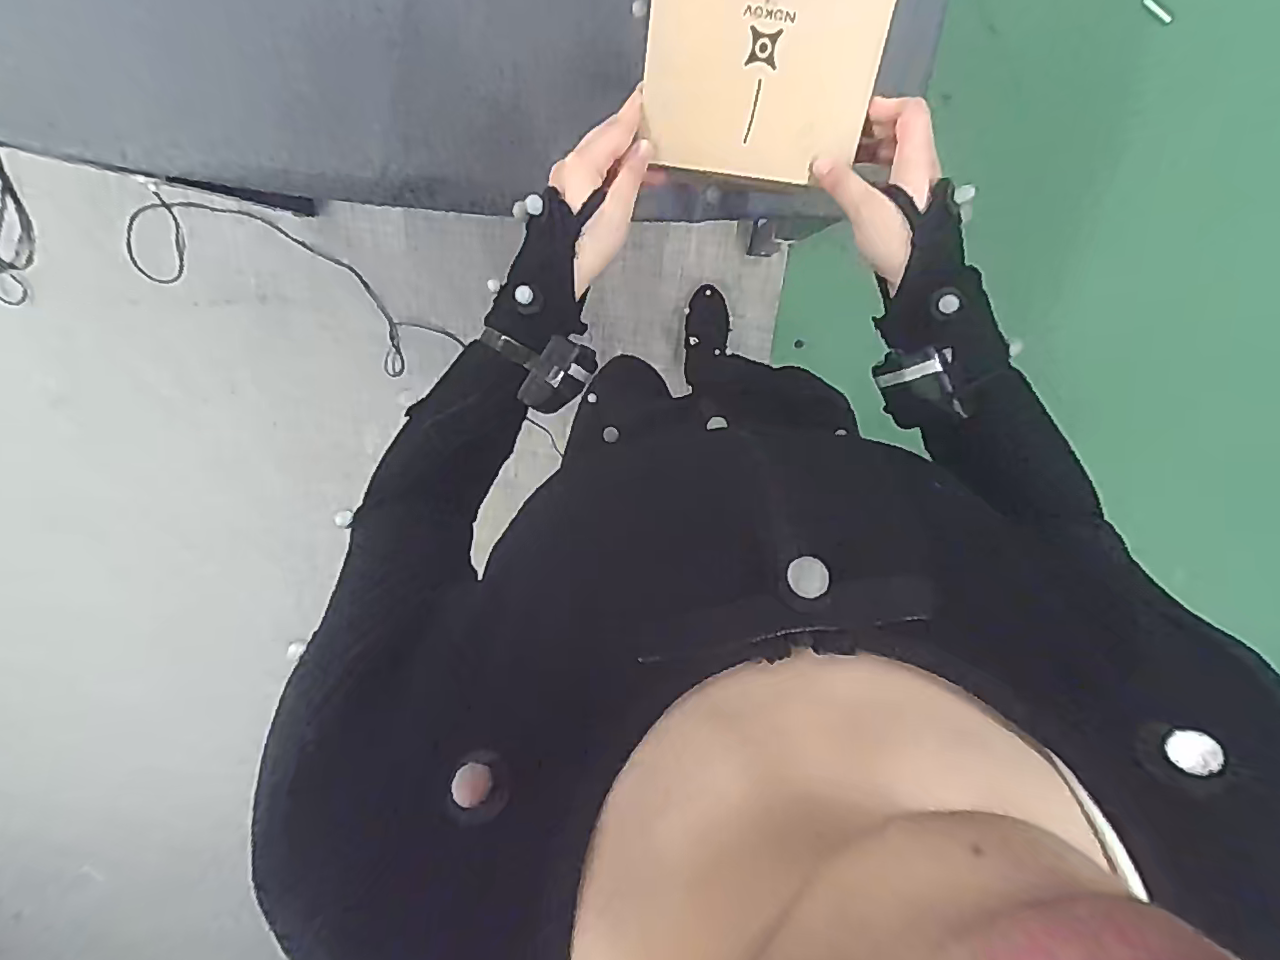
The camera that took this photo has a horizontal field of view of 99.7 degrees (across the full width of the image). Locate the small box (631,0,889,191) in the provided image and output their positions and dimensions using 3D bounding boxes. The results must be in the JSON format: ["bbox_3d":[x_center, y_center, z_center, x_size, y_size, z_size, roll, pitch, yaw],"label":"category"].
[{"bbox_3d":[0.083,-0.344,0.438,0.168,0.176,0.179,6,117,-2],"label":"small box"}]
